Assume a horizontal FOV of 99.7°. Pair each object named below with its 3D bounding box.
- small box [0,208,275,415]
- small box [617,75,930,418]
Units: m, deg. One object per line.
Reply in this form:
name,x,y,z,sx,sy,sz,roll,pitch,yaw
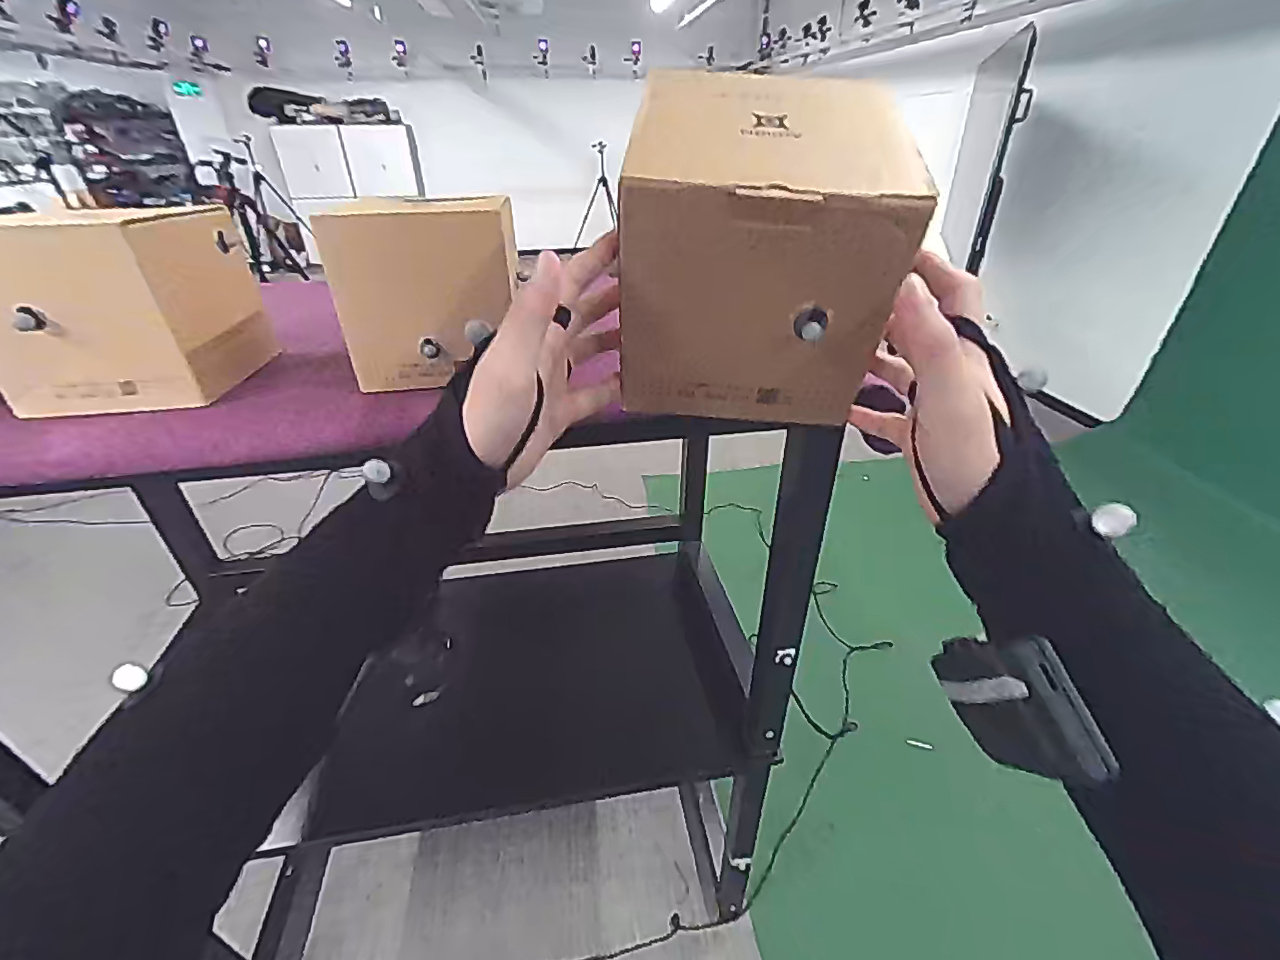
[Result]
small box,-0.511,-0.171,0.546,0.168,0.176,0.179,-5,31,-7
small box,0.078,-0.164,0.394,0.168,0.176,0.179,5,52,3
